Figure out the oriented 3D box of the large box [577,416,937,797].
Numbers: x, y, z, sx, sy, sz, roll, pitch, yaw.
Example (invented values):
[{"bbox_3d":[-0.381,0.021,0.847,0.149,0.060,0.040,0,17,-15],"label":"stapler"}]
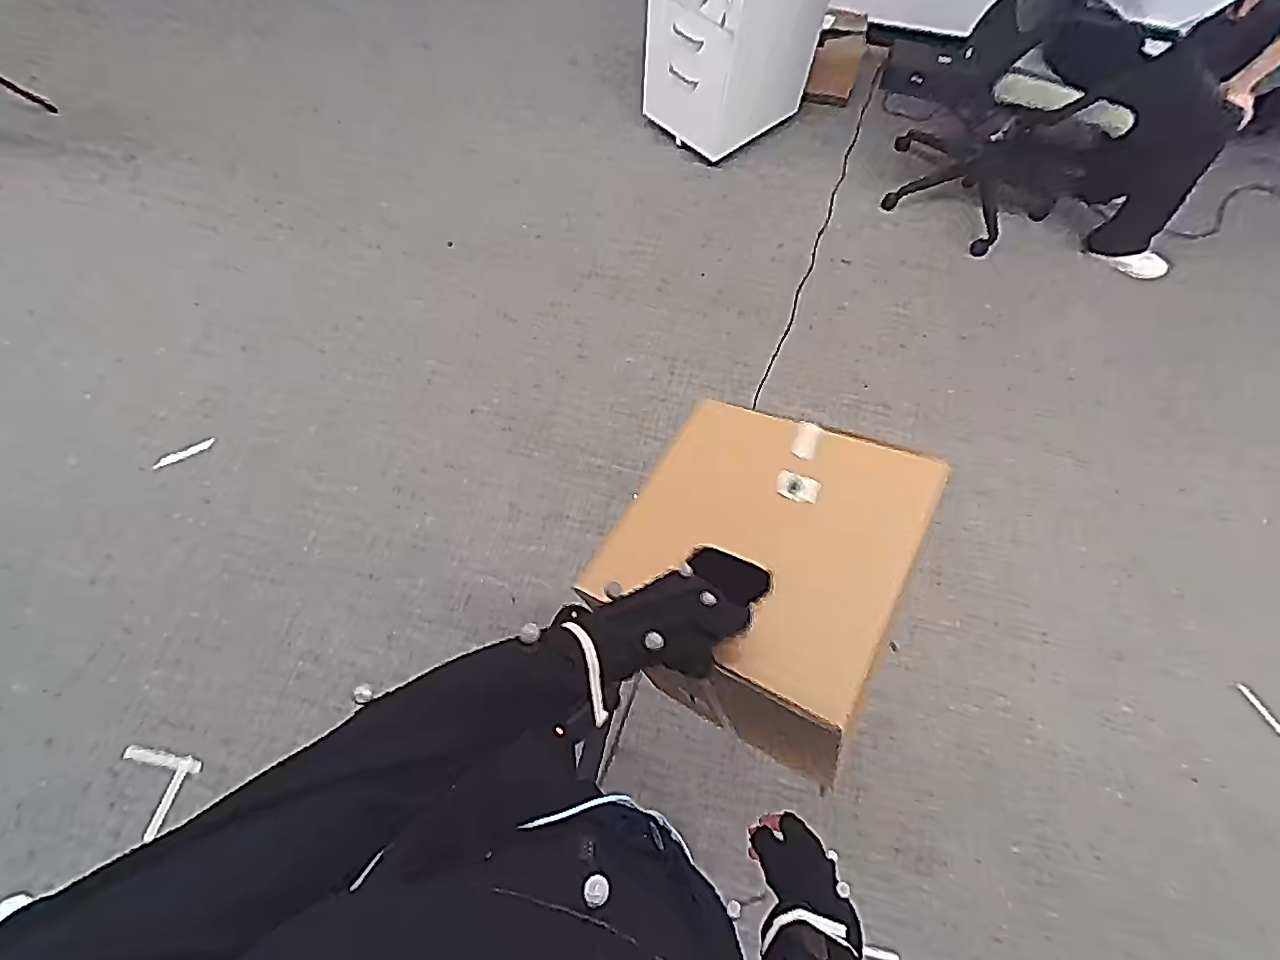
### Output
[{"bbox_3d":[0.180,0.178,0.755,0.320,0.408,0.320,23,65,32],"label":"large box"}]
